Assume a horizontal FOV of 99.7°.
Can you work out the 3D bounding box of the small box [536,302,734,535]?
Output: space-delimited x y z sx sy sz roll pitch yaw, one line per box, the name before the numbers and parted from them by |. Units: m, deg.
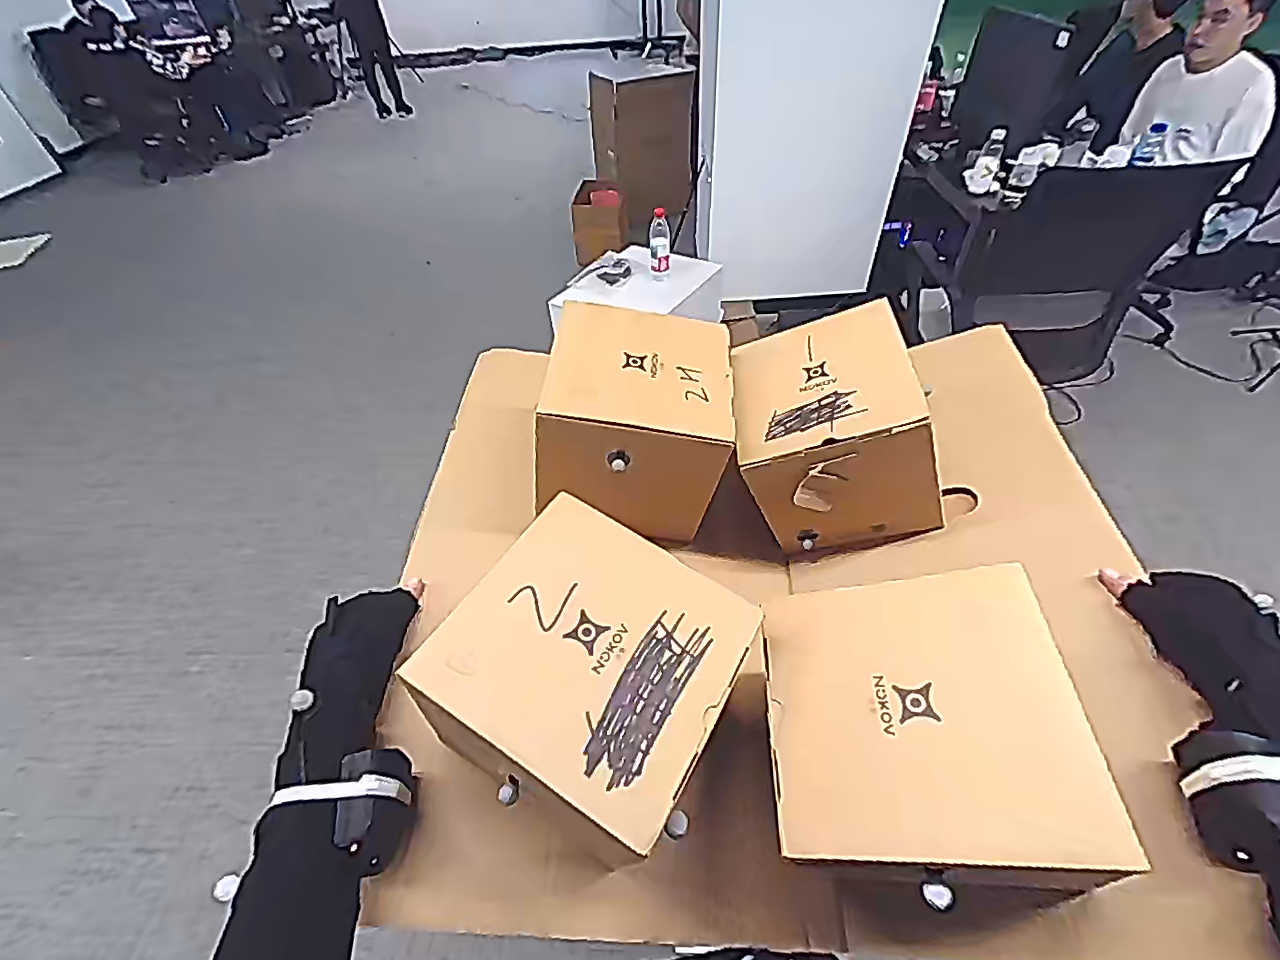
small box | -0.008 -0.058 0.574 0.179 0.176 0.168 9 53 -4
